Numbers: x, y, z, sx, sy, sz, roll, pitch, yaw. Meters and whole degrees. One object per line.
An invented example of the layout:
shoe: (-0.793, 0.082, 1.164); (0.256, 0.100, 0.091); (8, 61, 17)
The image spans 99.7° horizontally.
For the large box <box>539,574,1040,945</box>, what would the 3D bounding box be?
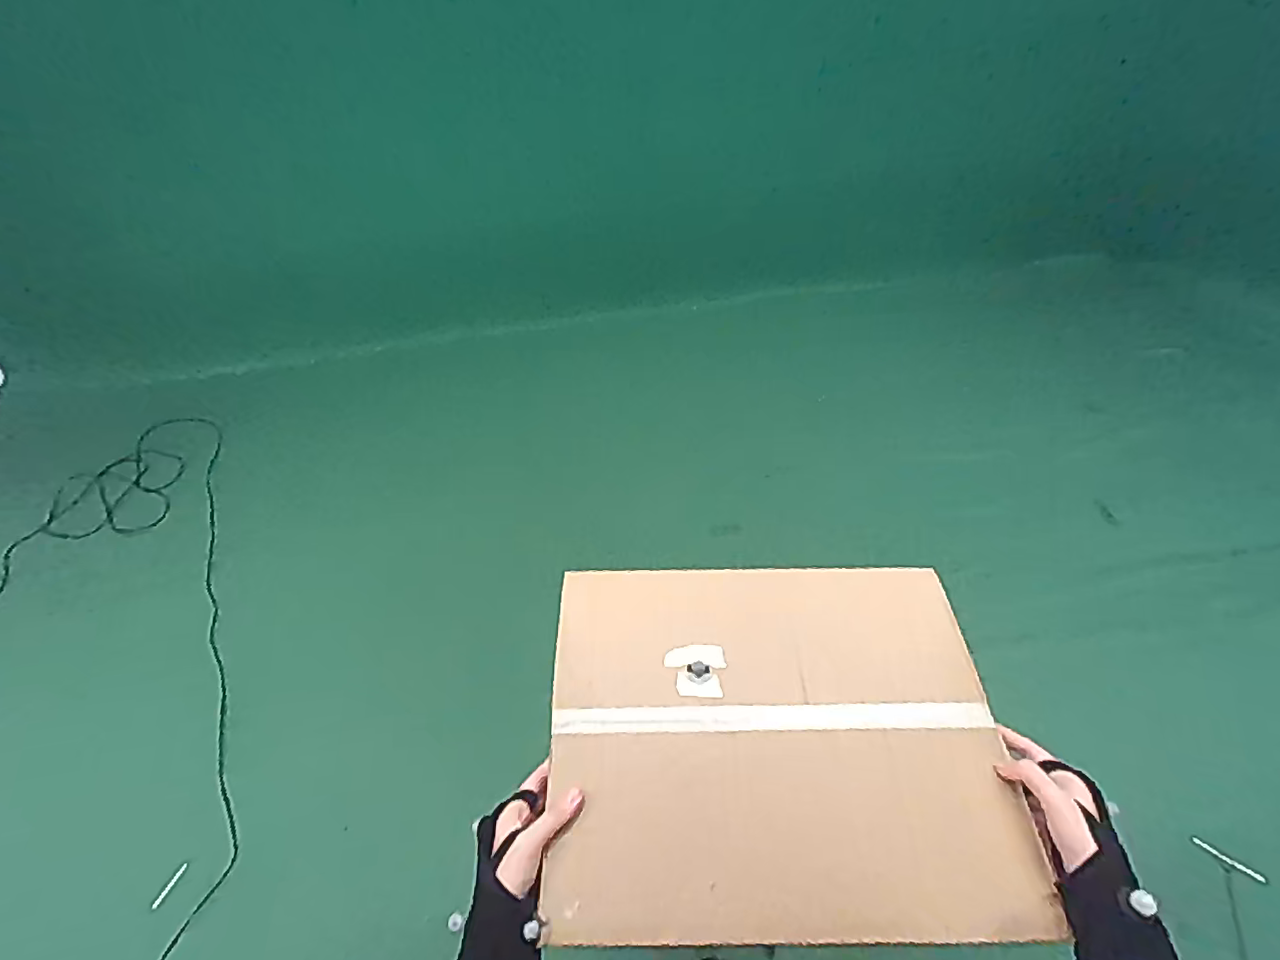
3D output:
large box: (0.120, 0.322, 0.630); (0.408, 0.320, 0.320); (-1, 52, 1)
